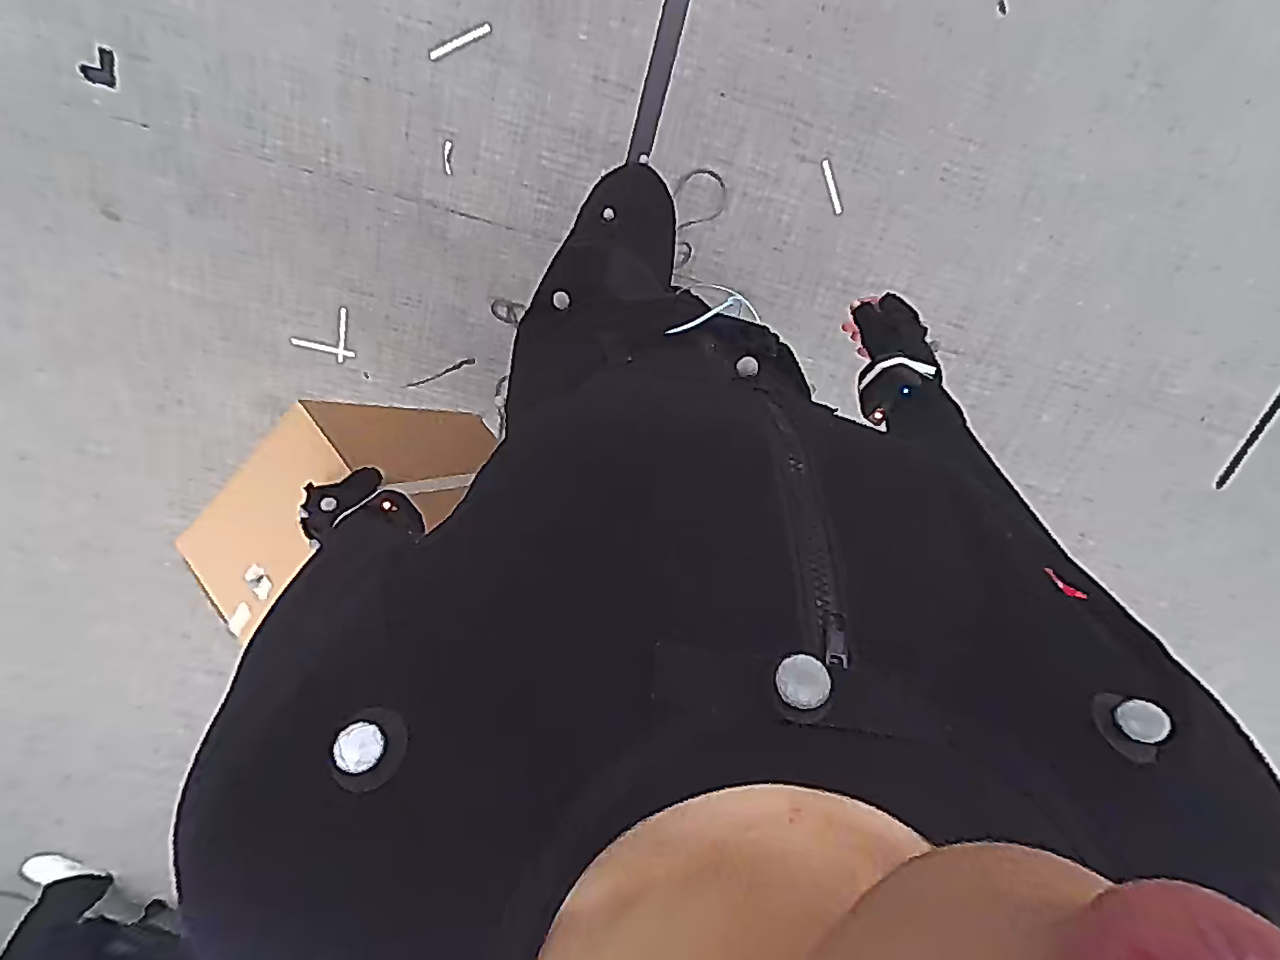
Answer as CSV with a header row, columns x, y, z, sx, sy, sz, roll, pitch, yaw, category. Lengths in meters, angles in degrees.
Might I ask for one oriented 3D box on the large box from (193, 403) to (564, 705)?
x,y,z,sx,sy,sz,roll,pitch,yaw,category
-0.403,0.094,0.919,0.320,0.408,0.320,-41,82,15,large box
